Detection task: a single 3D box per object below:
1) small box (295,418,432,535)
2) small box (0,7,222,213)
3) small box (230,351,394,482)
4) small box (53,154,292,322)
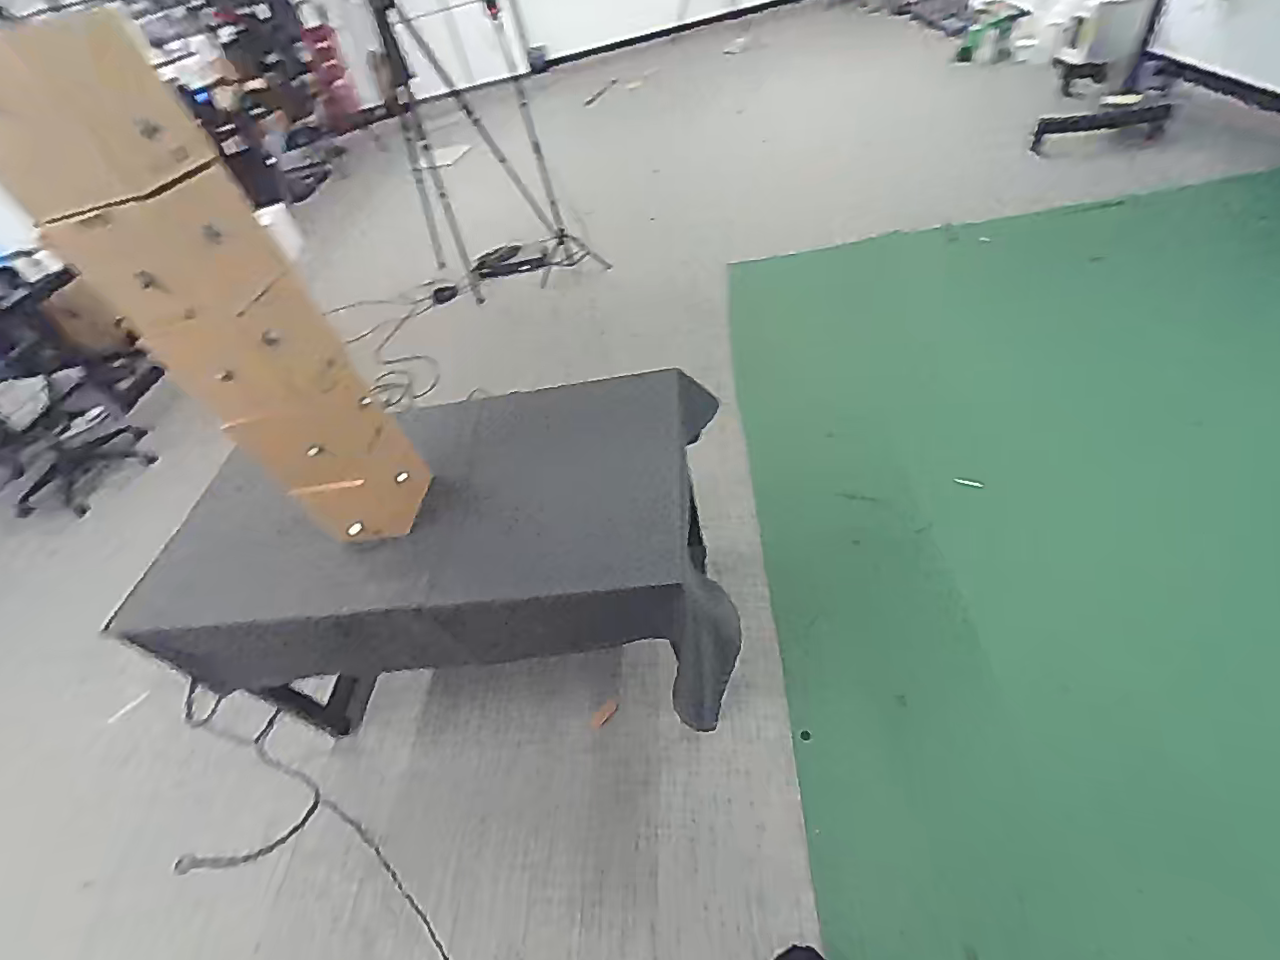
[{"bbox_3d":[-0.564,-0.005,1.135,0.168,0.176,0.179,-6,47,11],"label":"small box"},{"bbox_3d":[-0.701,-0.461,0.685,0.179,0.176,0.168,-7,45,11],"label":"small box"},{"bbox_3d":[-0.601,-0.116,1.022,0.179,0.176,0.168,-8,45,9],"label":"small box"},{"bbox_3d":[-0.669,-0.350,0.804,0.168,0.176,0.179,-7,46,10],"label":"small box"}]
